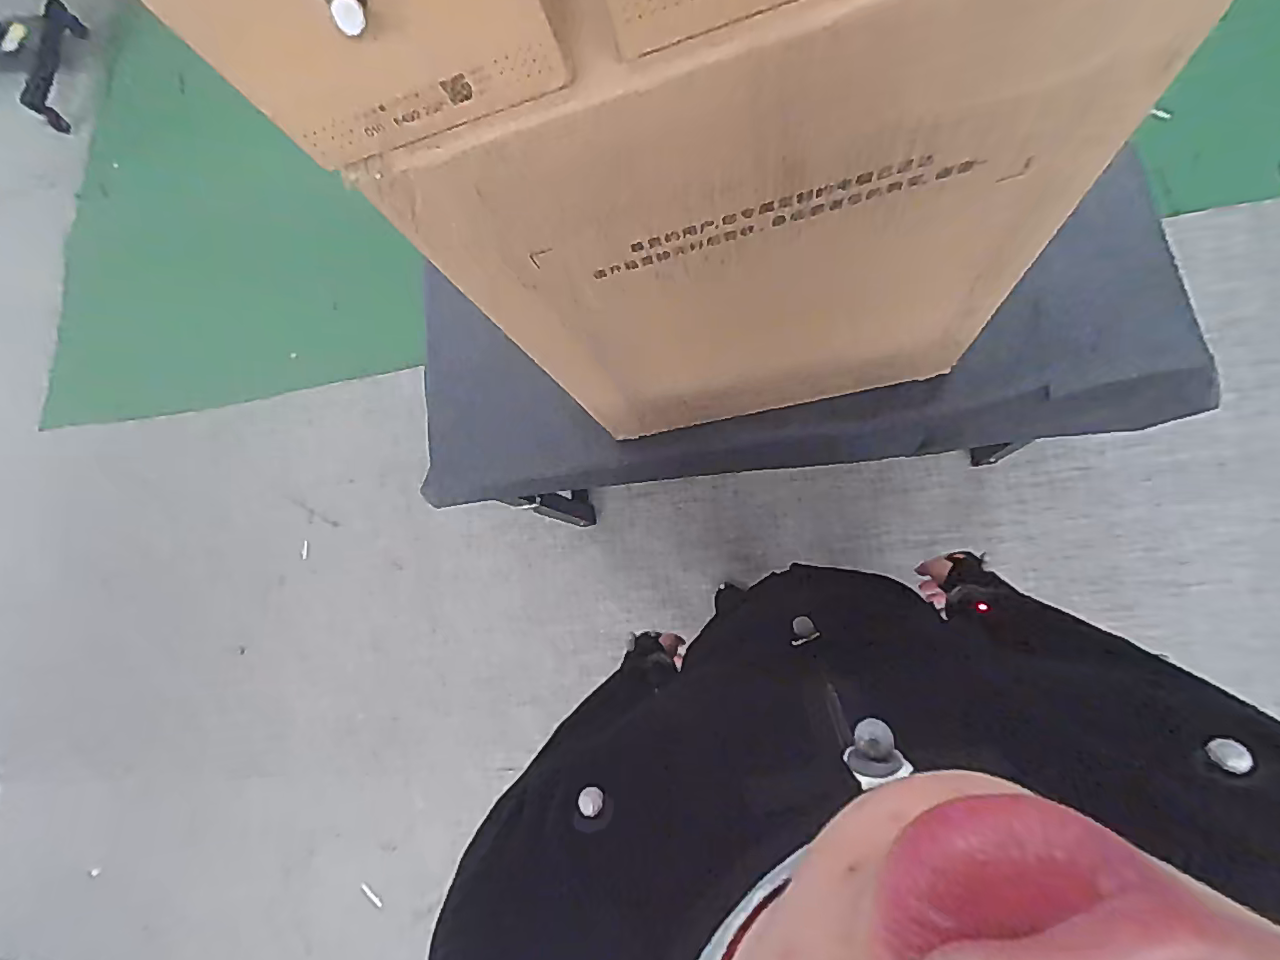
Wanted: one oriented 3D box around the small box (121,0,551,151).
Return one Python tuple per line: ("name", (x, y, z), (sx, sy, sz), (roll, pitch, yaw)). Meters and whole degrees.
("small box", (-0.153, -0.297, 0.258), (0.168, 0.176, 0.179), (-10, 78, 13))
